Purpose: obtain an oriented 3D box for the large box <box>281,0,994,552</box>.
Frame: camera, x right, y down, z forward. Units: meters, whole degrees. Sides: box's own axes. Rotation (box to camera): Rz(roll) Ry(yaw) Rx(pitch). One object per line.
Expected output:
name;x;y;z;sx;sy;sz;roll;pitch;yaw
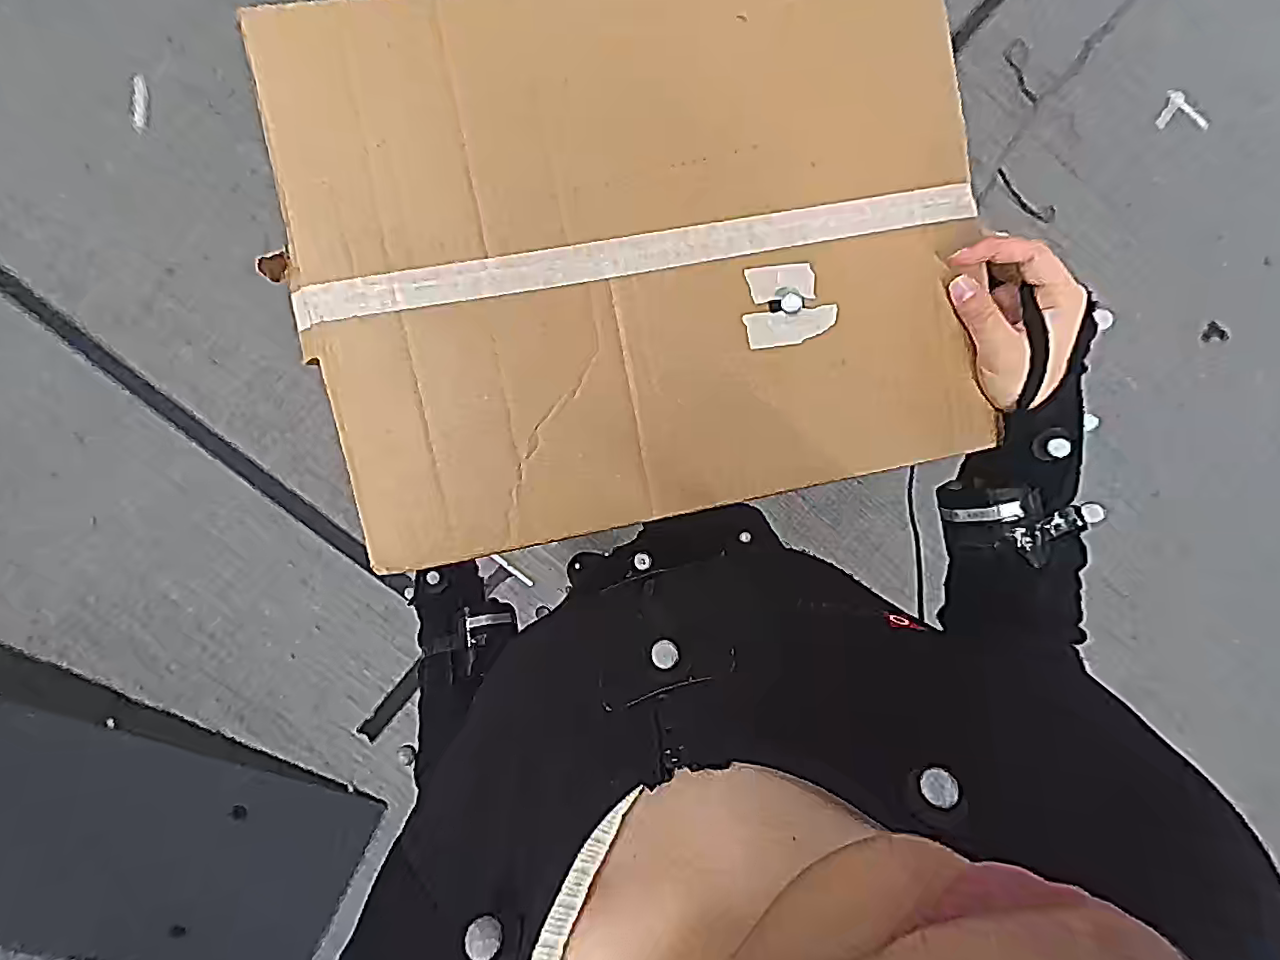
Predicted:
large box;0.000;-0.151;0.477;0.408;0.320;0.320;-11;95;-8
